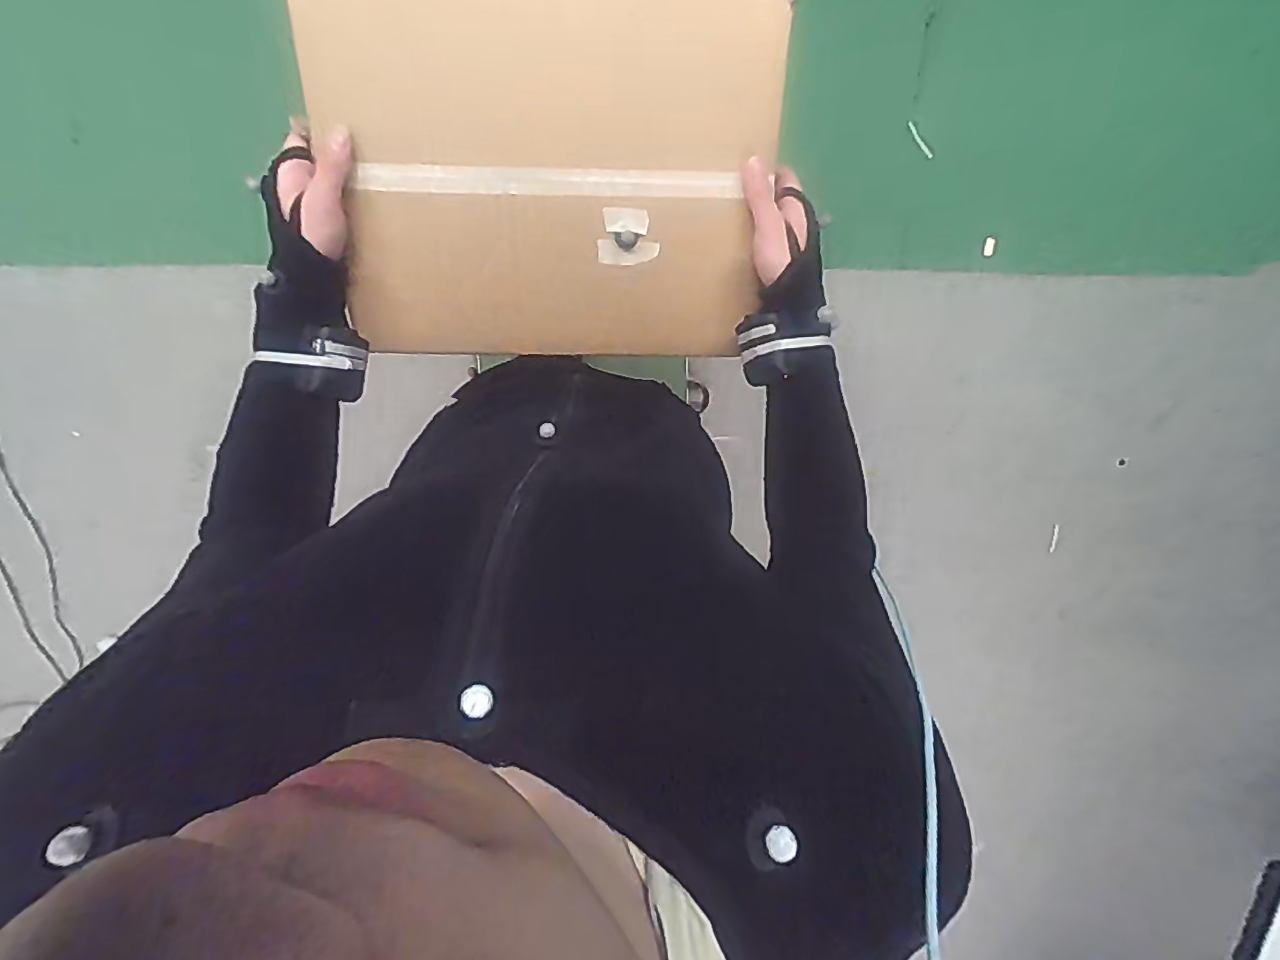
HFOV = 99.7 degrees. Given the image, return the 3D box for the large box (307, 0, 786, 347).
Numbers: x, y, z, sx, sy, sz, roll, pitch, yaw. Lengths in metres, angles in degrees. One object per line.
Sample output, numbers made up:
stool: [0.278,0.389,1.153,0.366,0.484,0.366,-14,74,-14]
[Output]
large box: [-0.086,-0.341,0.636,0.408,0.320,0.320,-1,115,-4]
